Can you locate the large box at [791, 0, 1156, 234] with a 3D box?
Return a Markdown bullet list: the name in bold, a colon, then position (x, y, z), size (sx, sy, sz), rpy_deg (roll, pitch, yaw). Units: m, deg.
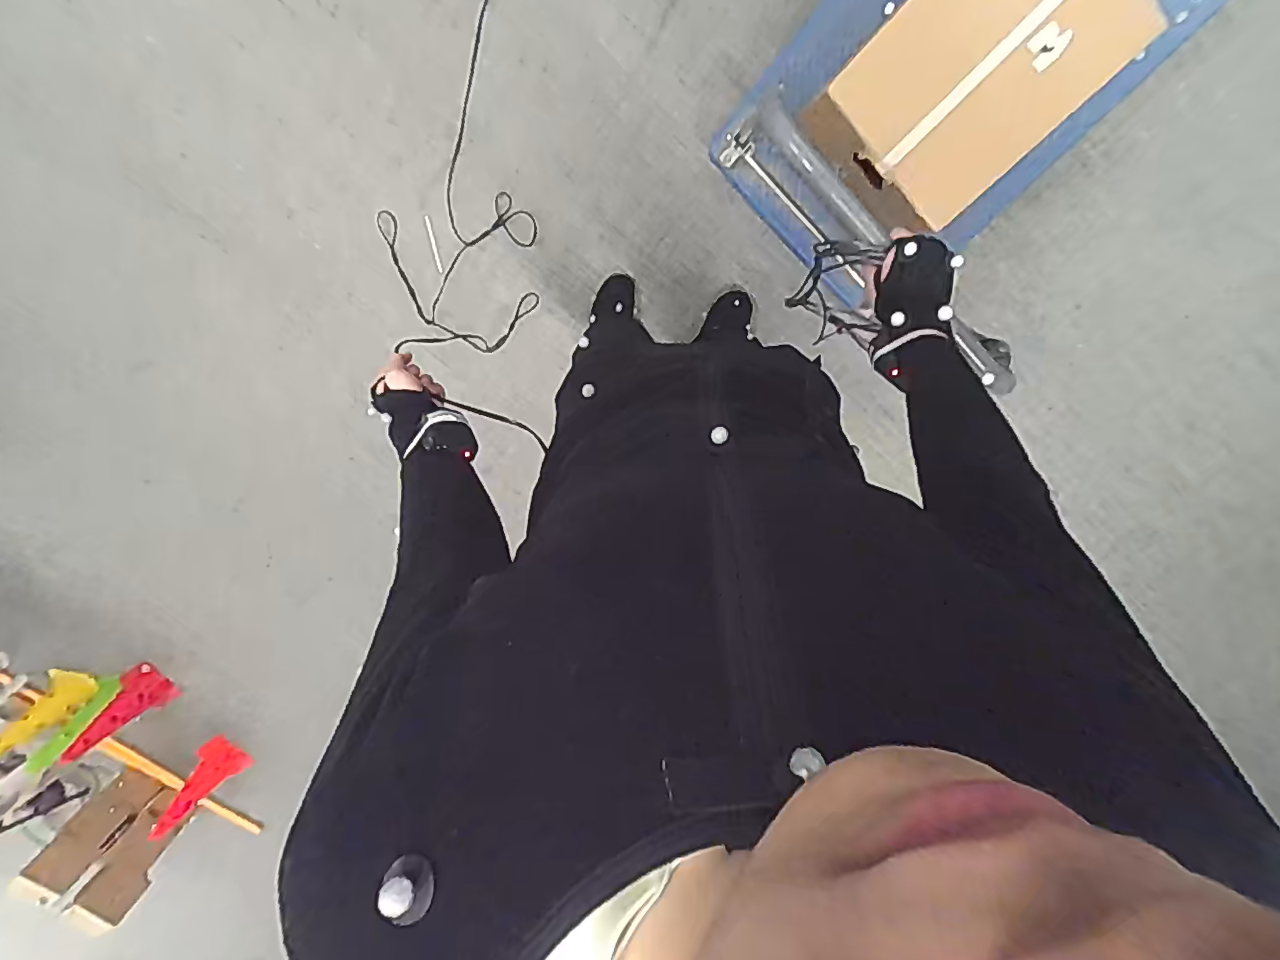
- **large box**: position (0.551, -0.718, 0.985), size (0.320, 0.320, 0.408), rpy_deg (42, 110, -15)
